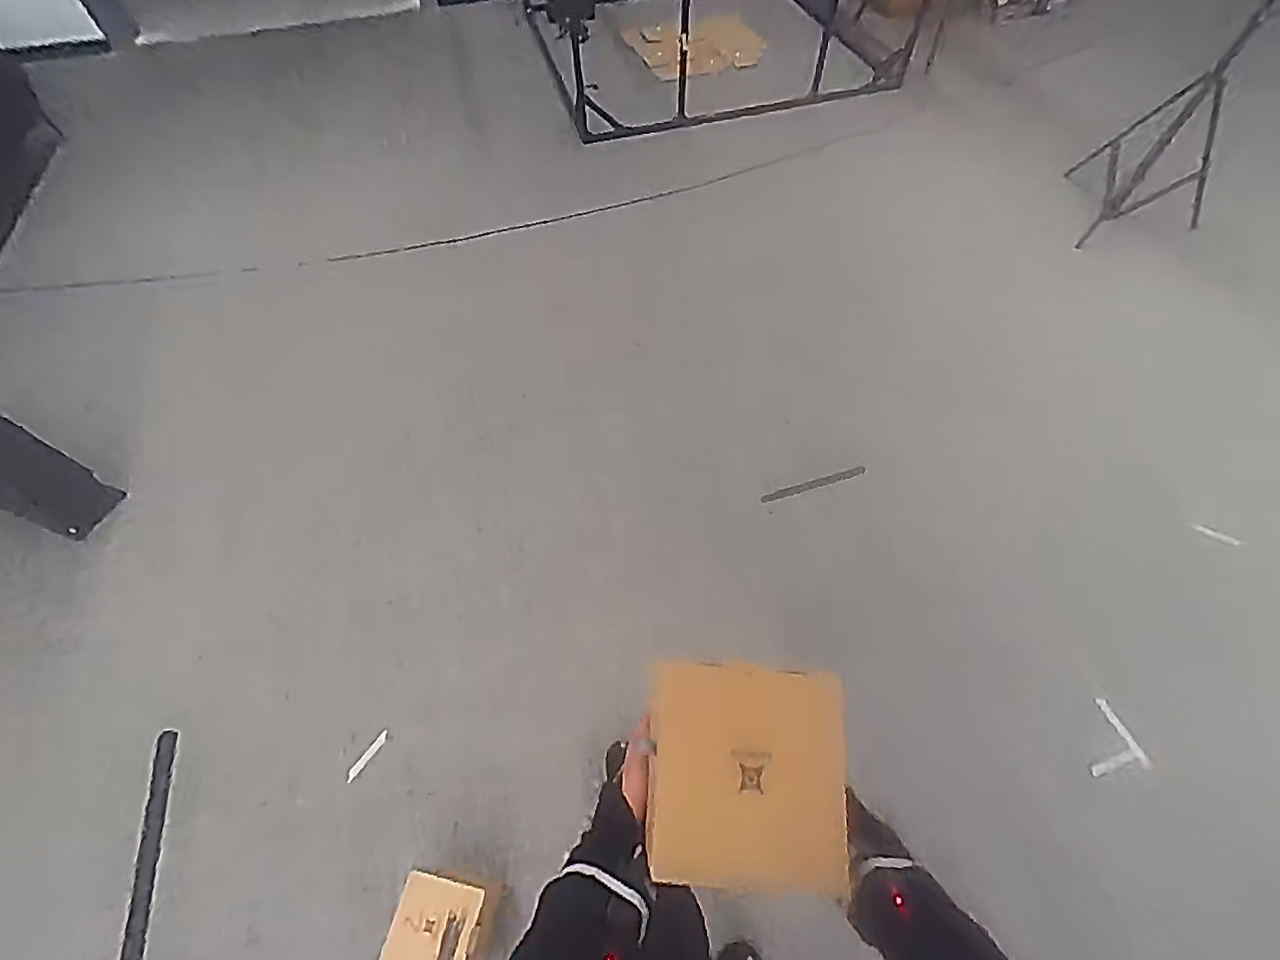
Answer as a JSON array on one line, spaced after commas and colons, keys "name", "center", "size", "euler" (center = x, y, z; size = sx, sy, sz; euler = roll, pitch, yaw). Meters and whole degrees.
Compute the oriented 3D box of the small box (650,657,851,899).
[{"name": "small box", "center": [0.099, 0.281, 0.546], "size": [0.168, 0.176, 0.179], "euler": [5, 69, 0]}]
